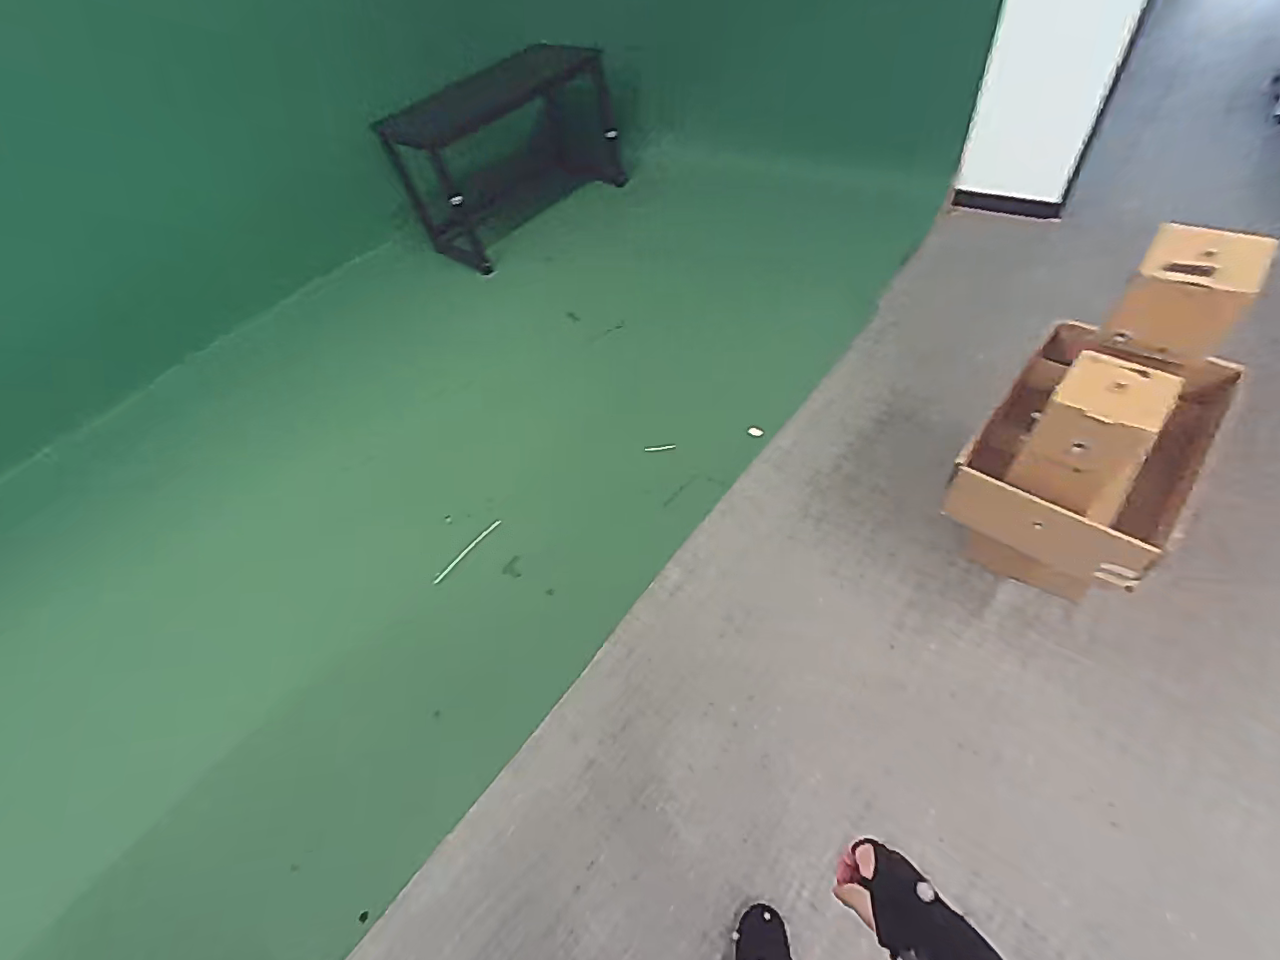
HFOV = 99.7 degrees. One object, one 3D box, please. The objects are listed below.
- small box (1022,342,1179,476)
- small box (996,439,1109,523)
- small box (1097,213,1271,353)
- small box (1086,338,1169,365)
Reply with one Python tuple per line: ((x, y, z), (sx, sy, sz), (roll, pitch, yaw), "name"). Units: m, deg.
((0.906, -0.138, 1.083), (0.168, 0.176, 0.179), (32, 66, 31), "small box")
((0.936, -0.040, 1.209), (0.168, 0.176, 0.179), (32, 64, 32), "small box")
((1.023, -0.372, 1.033), (0.168, 0.176, 0.179), (28, 66, 29), "small box")
((1.105, -0.203, 1.303), (0.168, 0.176, 0.179), (31, 68, 30), "small box")
